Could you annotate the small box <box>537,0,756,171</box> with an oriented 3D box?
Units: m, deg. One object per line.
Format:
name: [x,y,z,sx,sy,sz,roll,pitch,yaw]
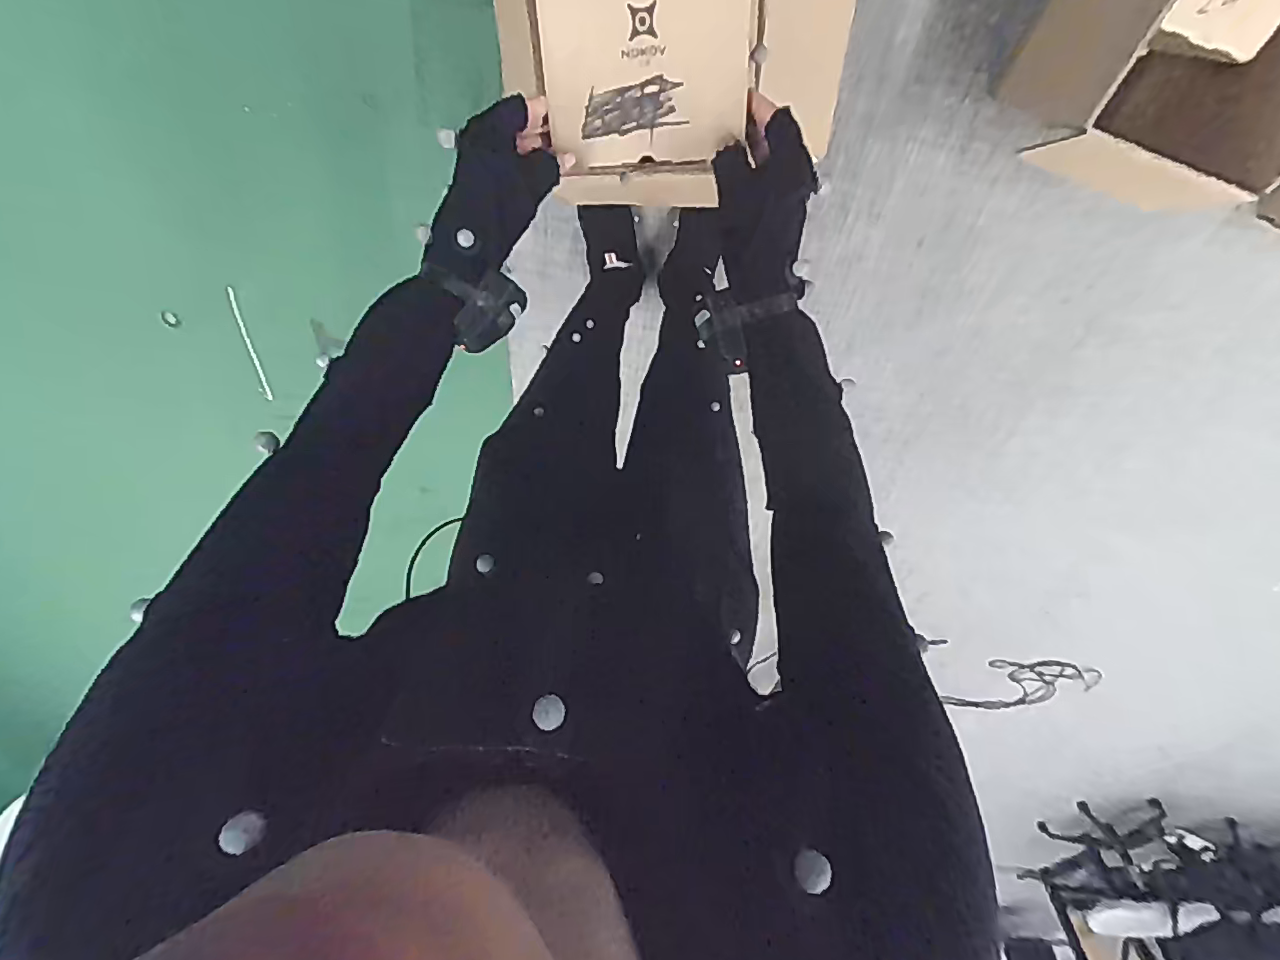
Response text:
small box: [0.016,-0.384,0.489,0.168,0.176,0.179,3,119,11]
